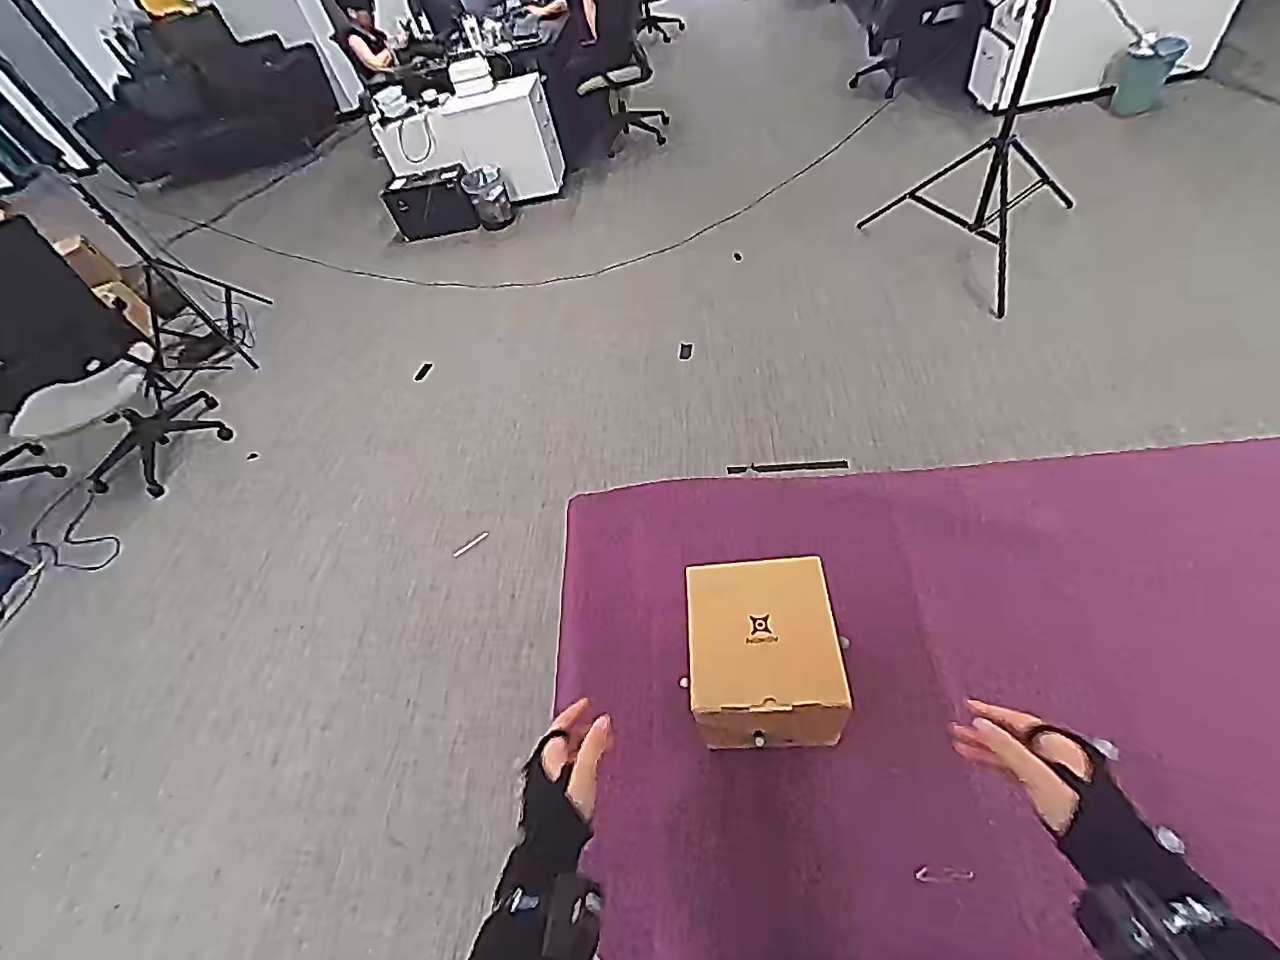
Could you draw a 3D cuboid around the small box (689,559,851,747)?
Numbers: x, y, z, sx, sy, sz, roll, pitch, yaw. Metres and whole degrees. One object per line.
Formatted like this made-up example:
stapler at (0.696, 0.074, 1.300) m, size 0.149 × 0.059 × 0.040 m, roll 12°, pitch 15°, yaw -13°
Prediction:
small box at (0.151, 0.220, 0.677) m, size 0.168 × 0.176 × 0.179 m, roll -6°, pitch 52°, yaw 8°
